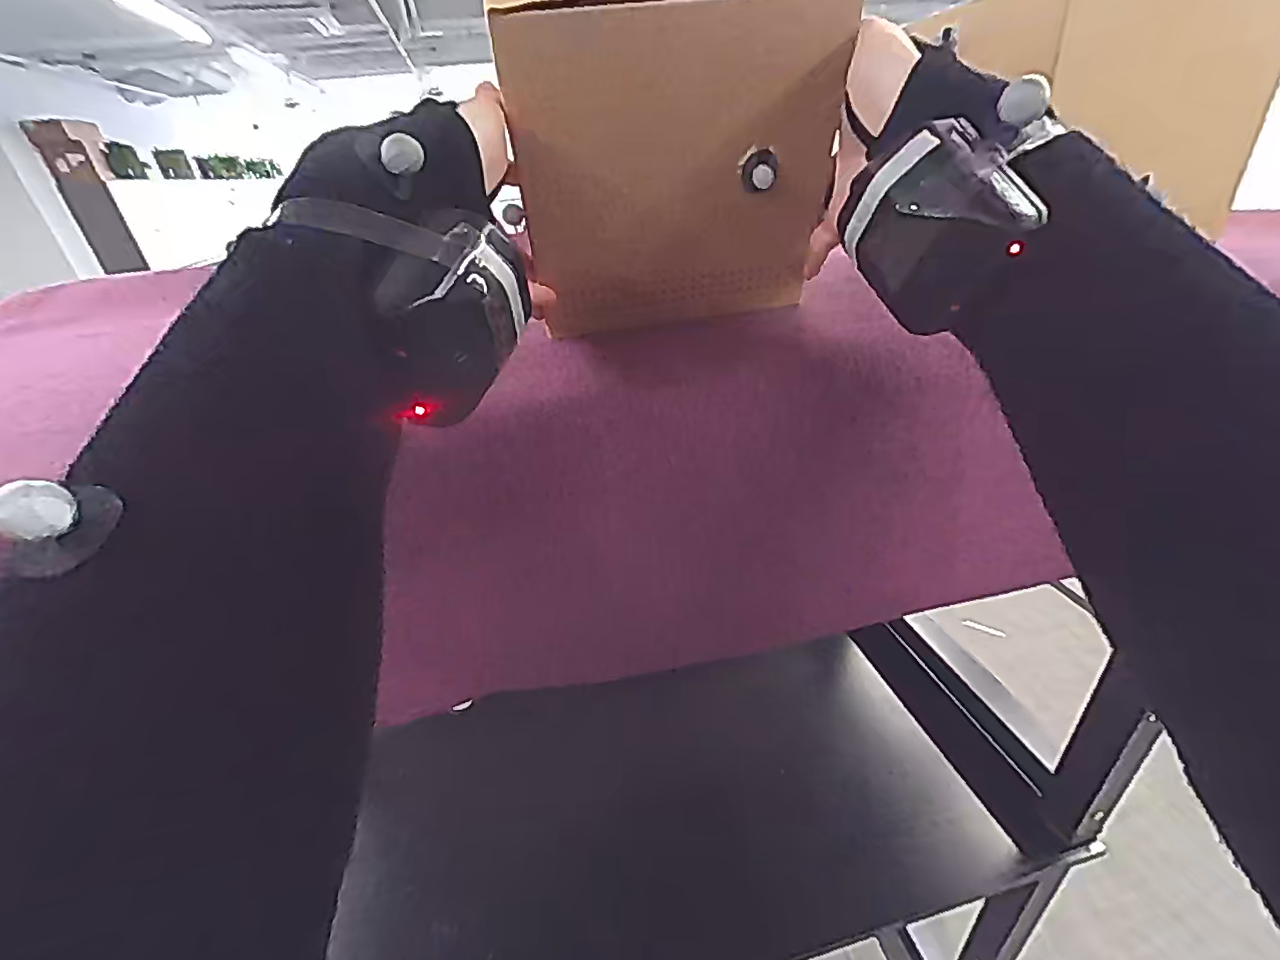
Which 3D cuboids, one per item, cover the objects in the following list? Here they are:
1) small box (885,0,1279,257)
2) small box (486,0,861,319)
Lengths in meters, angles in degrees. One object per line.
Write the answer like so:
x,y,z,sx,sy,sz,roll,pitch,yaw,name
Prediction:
0.314,-0.275,0.407,0.179,0.176,0.168,-10,29,-7,small box
0.007,-0.226,0.348,0.179,0.176,0.168,-10,49,-6,small box
